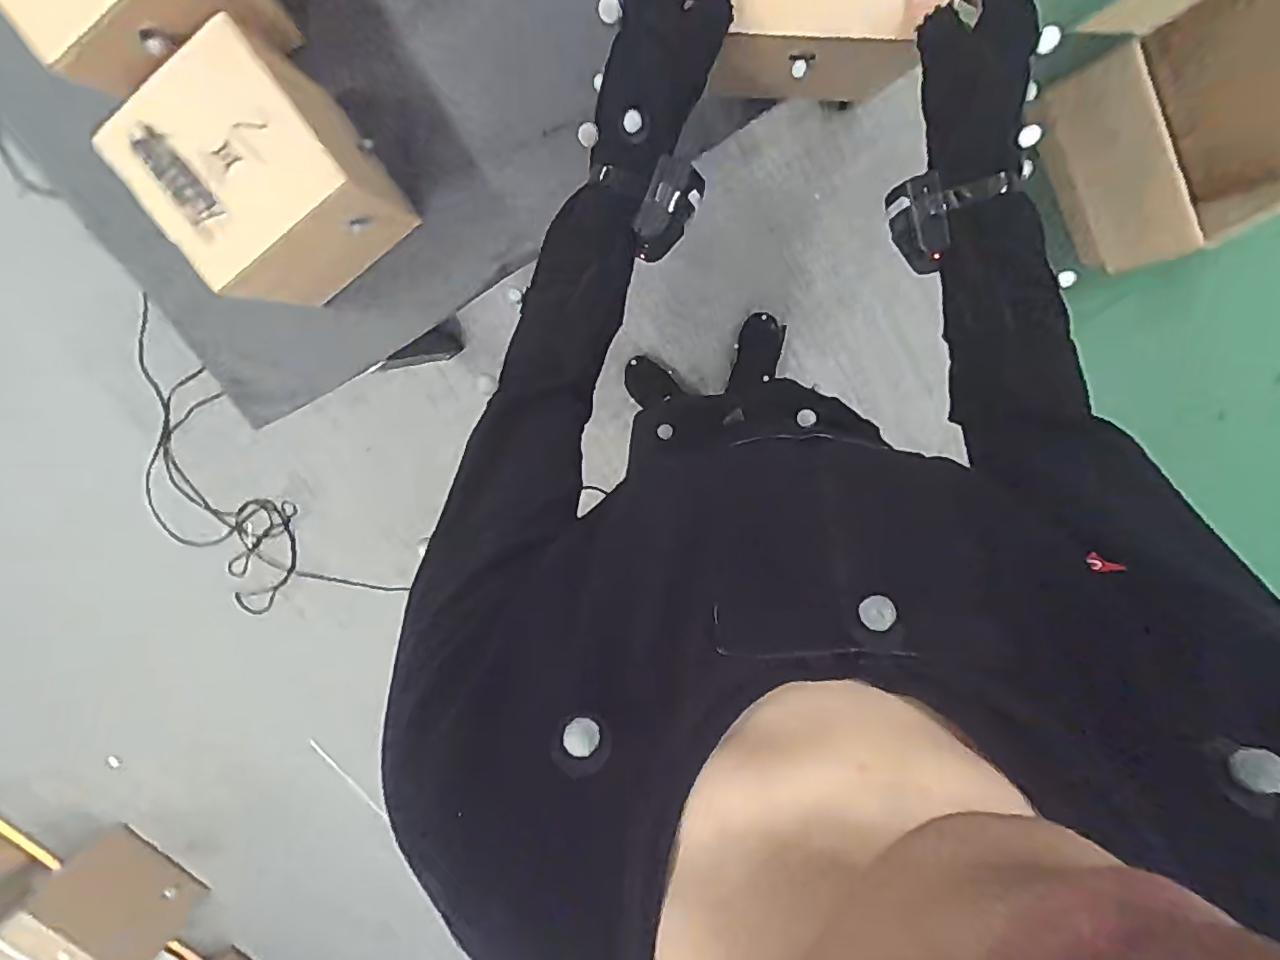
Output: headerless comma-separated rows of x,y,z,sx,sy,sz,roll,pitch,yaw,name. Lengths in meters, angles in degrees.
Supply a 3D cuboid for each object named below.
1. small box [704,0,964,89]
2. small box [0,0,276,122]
0.147,-0.431,0.428,0.179,0.176,0.168,3,113,1,small box
-0.502,-0.498,0.523,0.179,0.176,0.168,-32,103,10,small box
